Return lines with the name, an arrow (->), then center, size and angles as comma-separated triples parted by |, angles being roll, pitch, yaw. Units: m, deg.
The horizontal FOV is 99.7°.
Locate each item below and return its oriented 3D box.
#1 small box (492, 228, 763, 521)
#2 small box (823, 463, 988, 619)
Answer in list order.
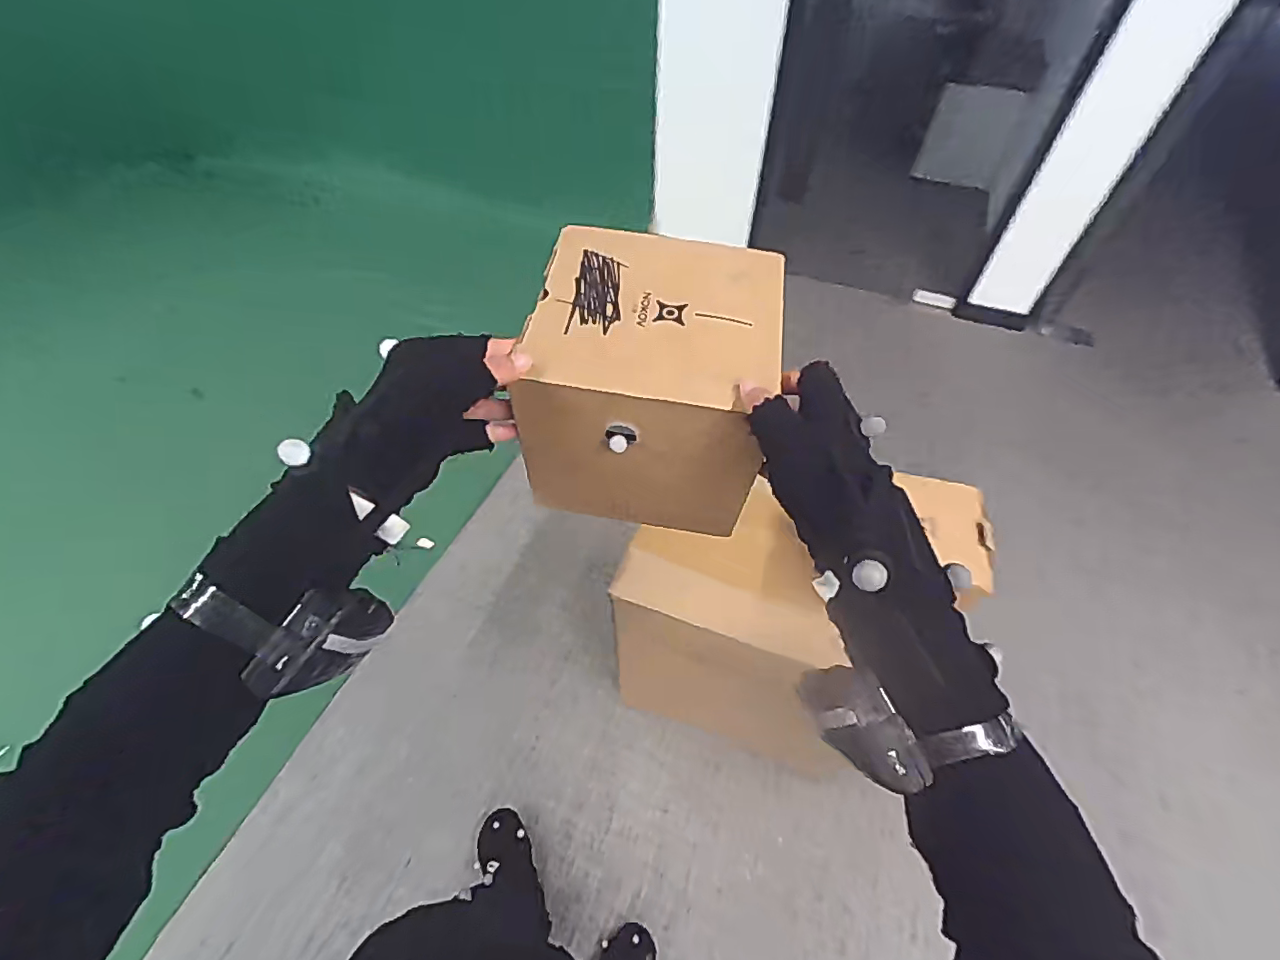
small box -> -0.003, -0.080, 0.454 | 0.179, 0.176, 0.168 | 8, 58, 2
small box -> 0.395, 0.099, 0.831 | 0.179, 0.176, 0.168 | 10, 57, 9
